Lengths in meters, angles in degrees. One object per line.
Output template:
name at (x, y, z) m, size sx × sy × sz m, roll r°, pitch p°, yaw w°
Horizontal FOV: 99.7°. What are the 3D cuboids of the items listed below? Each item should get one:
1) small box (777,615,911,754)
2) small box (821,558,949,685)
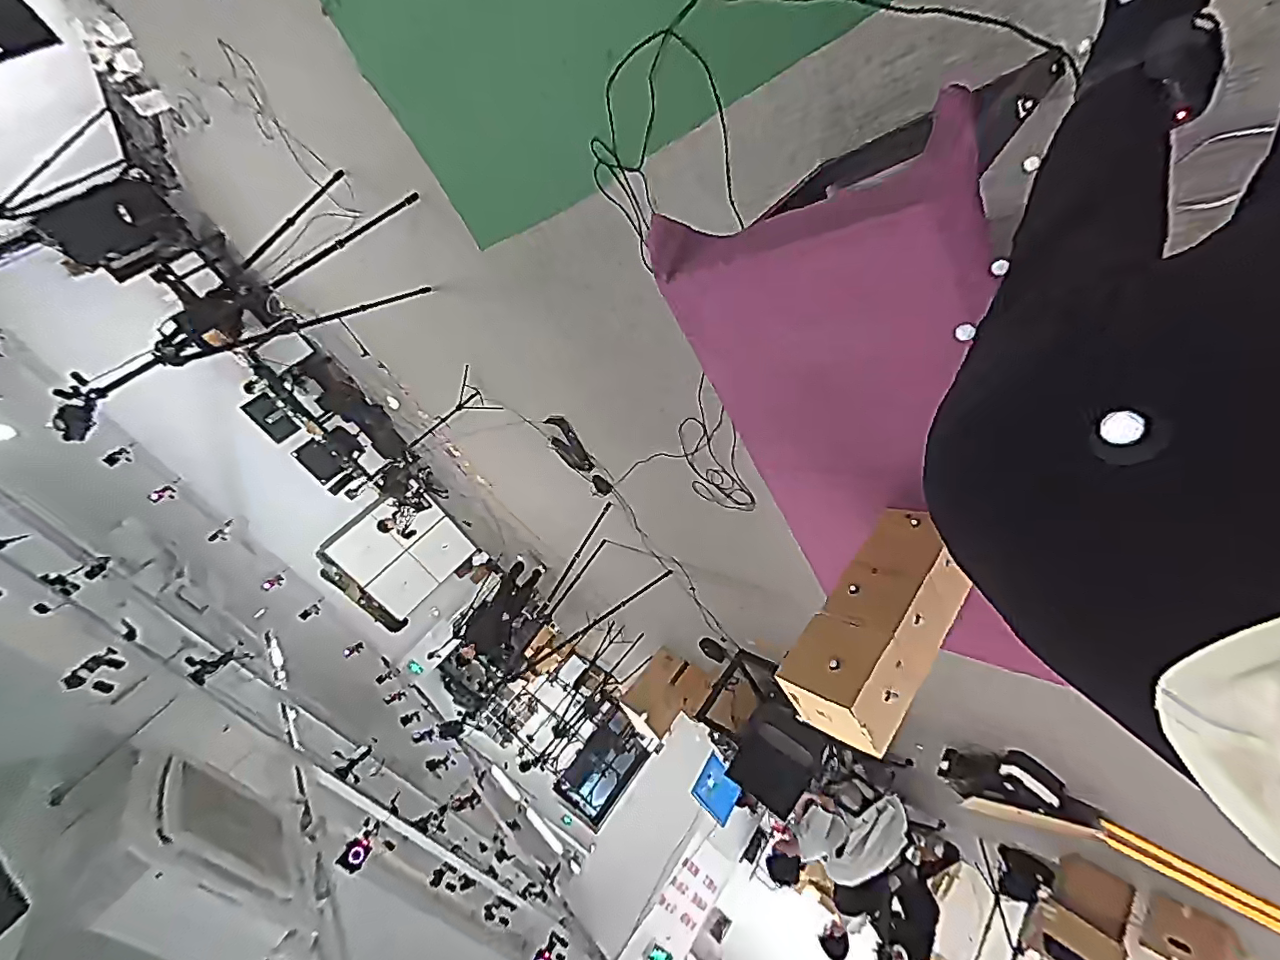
small box at (0.413, 0.395, 1.076) m, size 0.179 × 0.176 × 0.168 m, roll 5°, pitch 135°, yaw 54°
small box at (0.519, 0.288, 1.139) m, size 0.168 × 0.176 × 0.179 m, roll 7°, pitch 137°, yaw 53°
